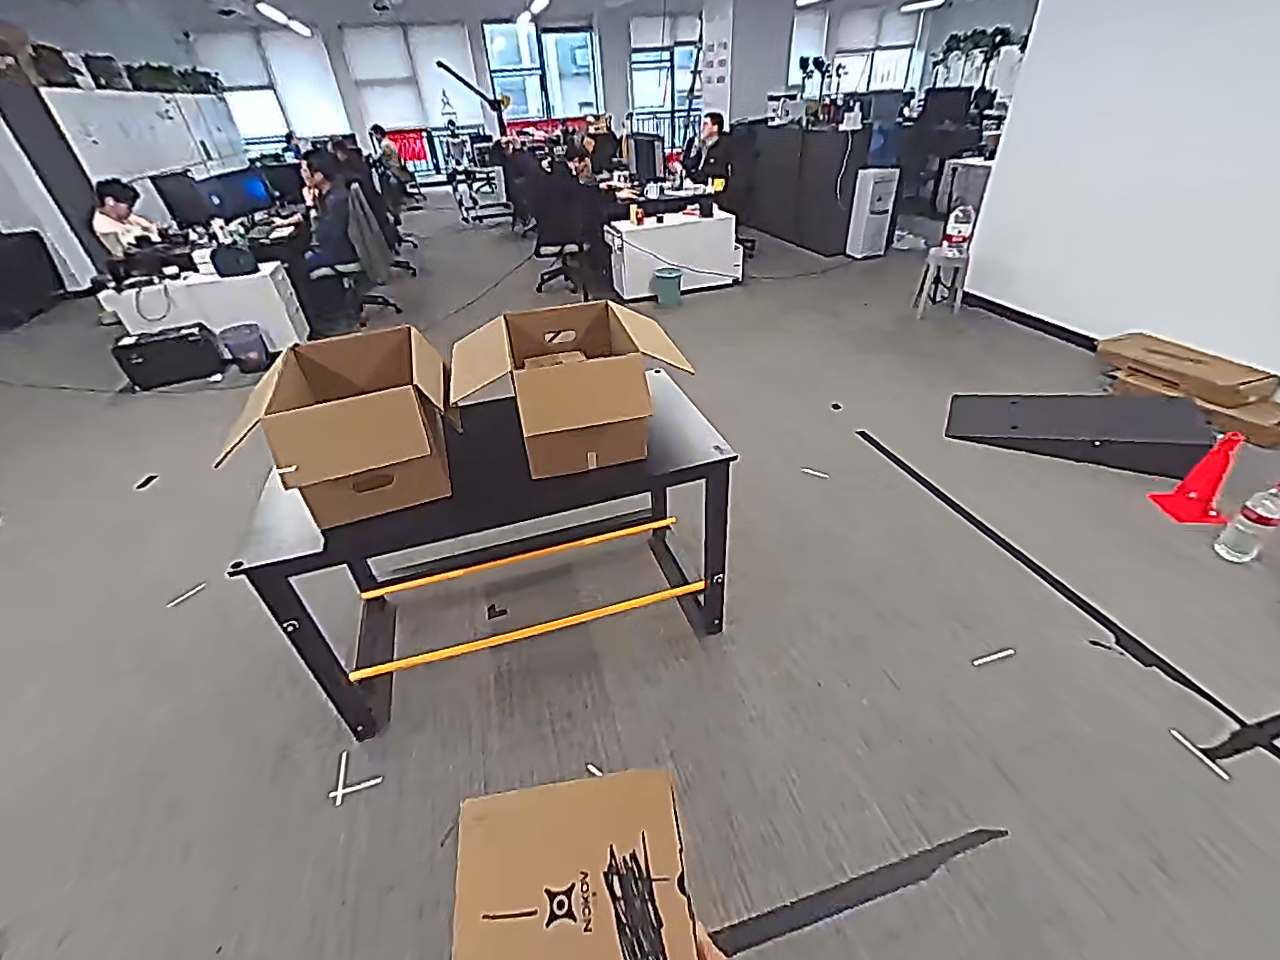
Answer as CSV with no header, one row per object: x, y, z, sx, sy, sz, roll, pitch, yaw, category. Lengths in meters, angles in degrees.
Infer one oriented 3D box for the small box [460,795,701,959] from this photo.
-0.043,0.387,0.462,0.179,0.176,0.168,-8,50,-3,small box
